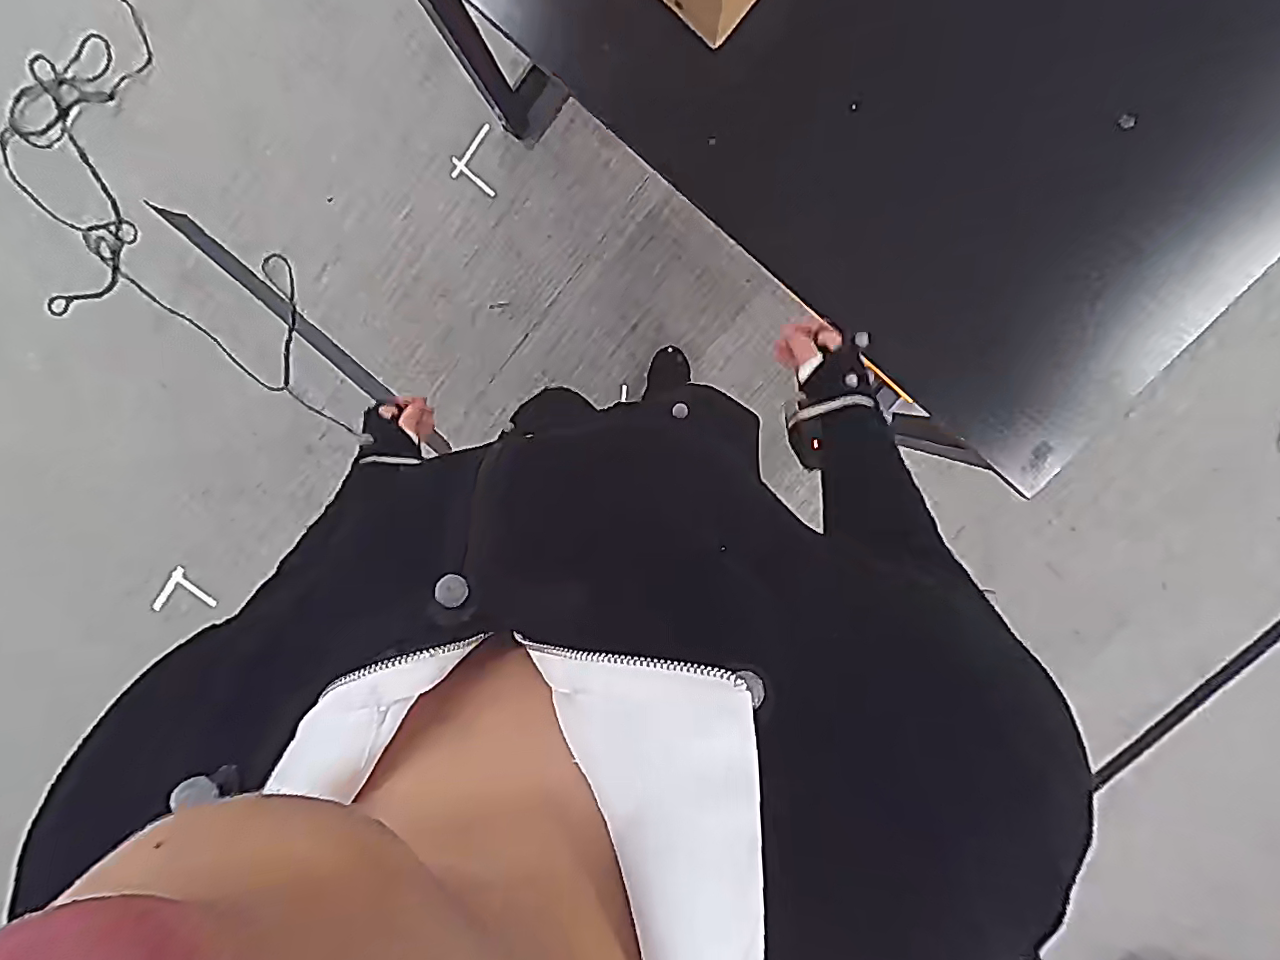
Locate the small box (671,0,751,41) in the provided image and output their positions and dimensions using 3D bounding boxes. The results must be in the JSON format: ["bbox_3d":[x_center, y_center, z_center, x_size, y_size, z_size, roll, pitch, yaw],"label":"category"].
[{"bbox_3d":[0.080,-0.614,0.548,0.168,0.176,0.179,41,100,-6],"label":"small box"}]
